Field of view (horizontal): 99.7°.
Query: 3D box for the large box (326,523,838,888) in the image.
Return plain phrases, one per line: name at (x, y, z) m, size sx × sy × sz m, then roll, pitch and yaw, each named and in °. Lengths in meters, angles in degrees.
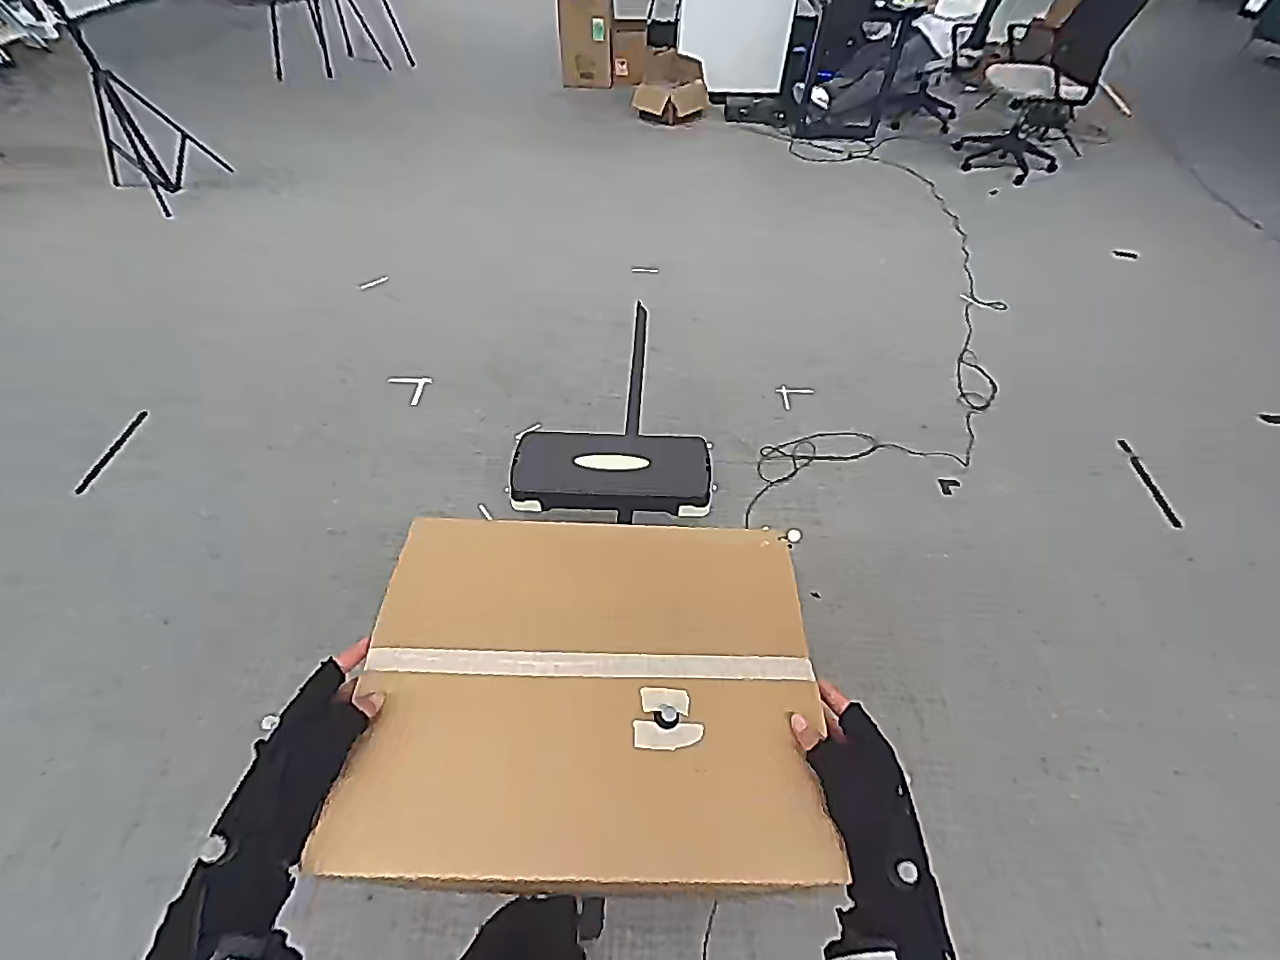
large box at (-0.051, 0.266, 0.621) m, size 0.408 × 0.320 × 0.320 m, roll 3°, pitch 51°, yaw -2°
